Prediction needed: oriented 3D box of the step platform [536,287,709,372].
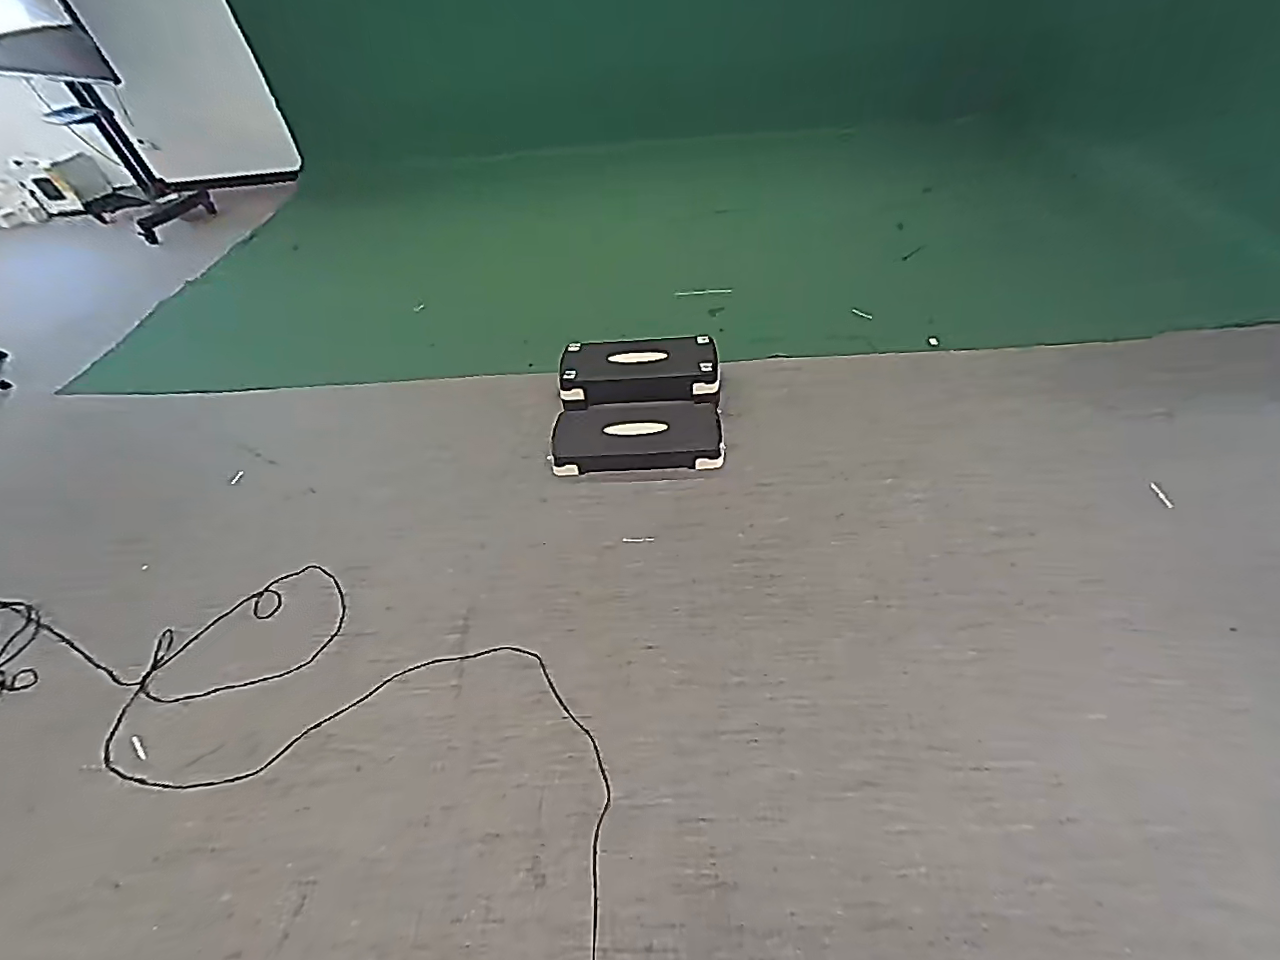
[{"bbox_3d":[-0.063,-0.611,2.200,0.684,0.204,0.286,-3,48,5],"label":"step platform"}]
